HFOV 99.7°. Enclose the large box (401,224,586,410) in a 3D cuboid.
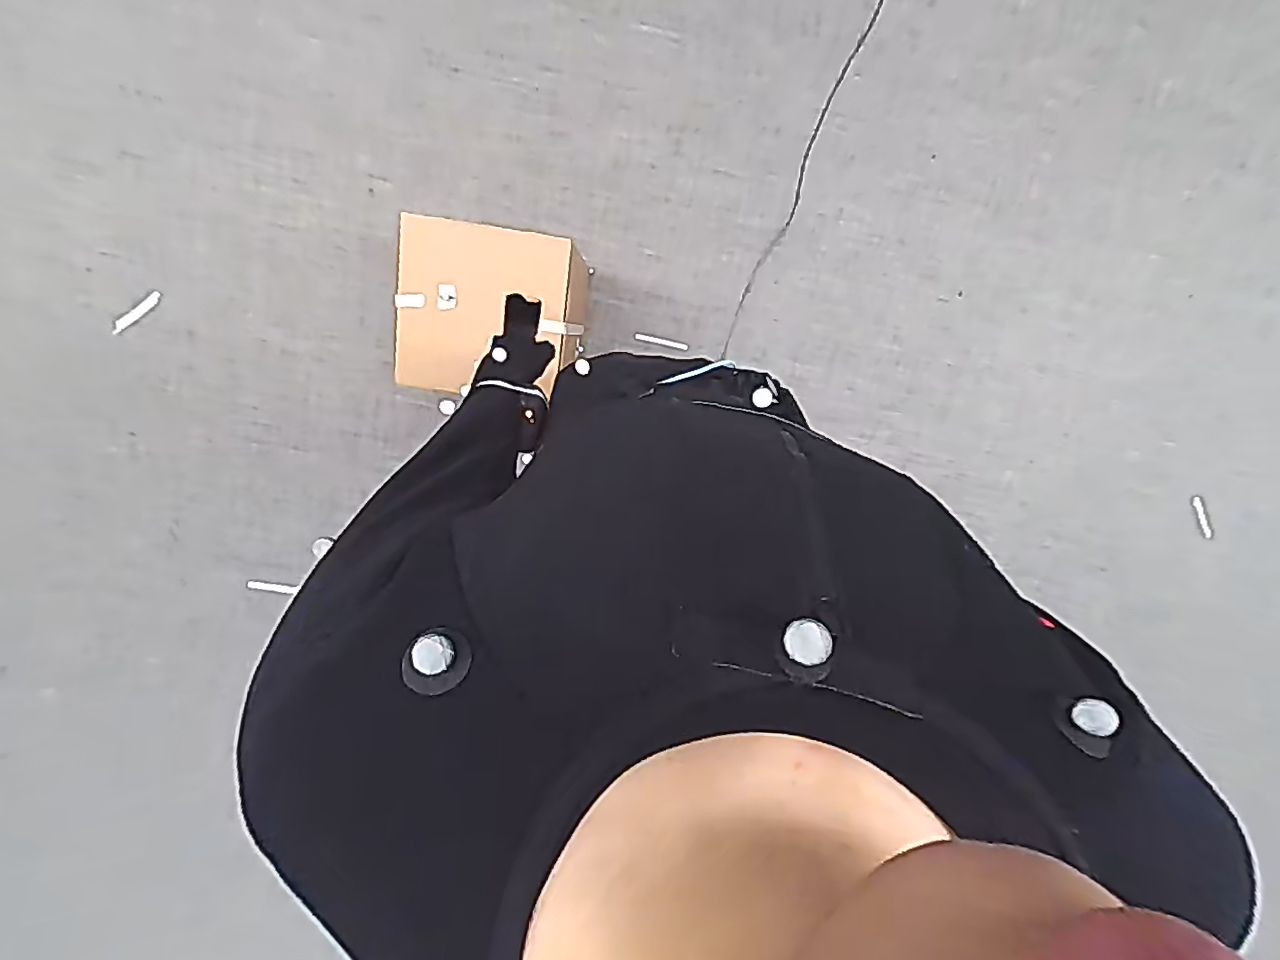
[{"bbox_3d":[-0.302,-0.356,1.207,0.320,0.408,0.320,8,105,-4],"label":"large box"}]
